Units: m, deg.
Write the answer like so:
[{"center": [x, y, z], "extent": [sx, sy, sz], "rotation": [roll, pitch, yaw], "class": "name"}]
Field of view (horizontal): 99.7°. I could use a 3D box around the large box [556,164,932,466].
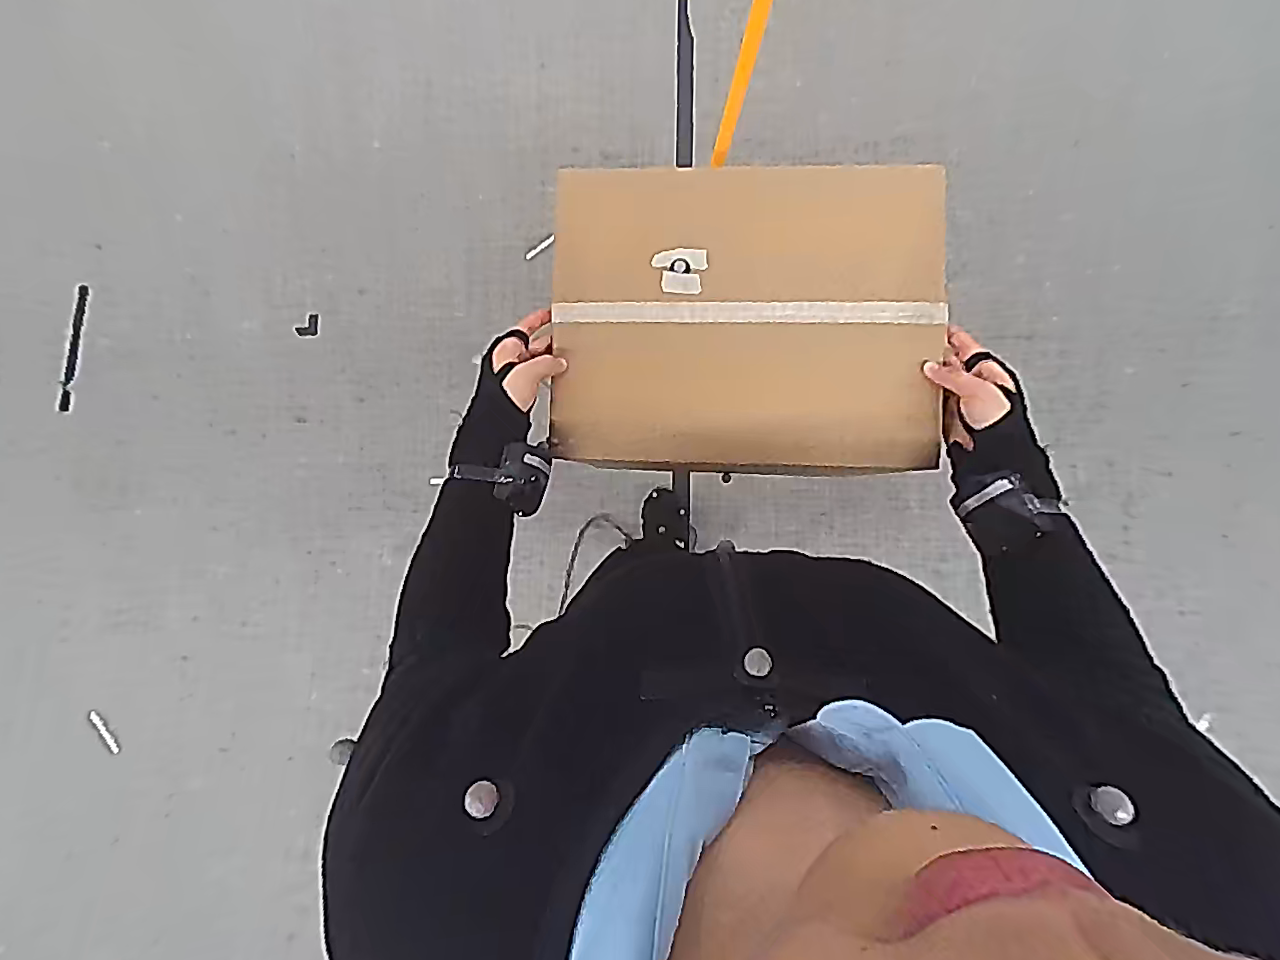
[{"center": [0.121, -0.176, 0.727], "extent": [0.408, 0.320, 0.320], "rotation": [1, 88, 5], "class": "large box"}]
